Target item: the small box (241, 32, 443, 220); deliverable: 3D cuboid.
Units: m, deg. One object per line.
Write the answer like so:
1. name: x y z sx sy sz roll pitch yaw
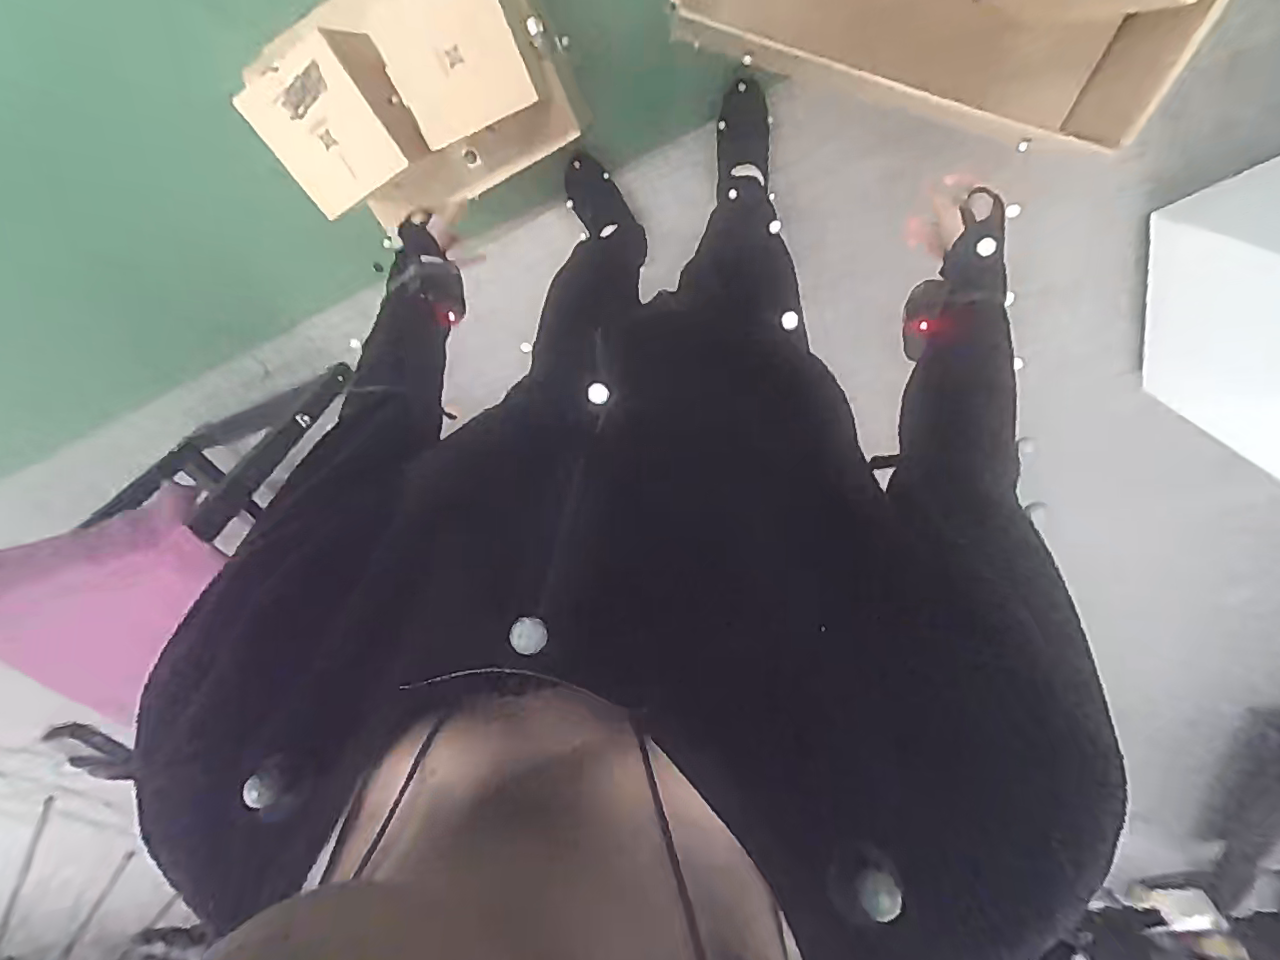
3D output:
1. small box: -0.438 -0.535 0.826 0.168 0.176 0.179 -22 124 17

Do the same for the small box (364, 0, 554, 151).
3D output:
1. small box: -0.242 -0.600 0.774 0.179 0.176 0.168 -17 126 13
